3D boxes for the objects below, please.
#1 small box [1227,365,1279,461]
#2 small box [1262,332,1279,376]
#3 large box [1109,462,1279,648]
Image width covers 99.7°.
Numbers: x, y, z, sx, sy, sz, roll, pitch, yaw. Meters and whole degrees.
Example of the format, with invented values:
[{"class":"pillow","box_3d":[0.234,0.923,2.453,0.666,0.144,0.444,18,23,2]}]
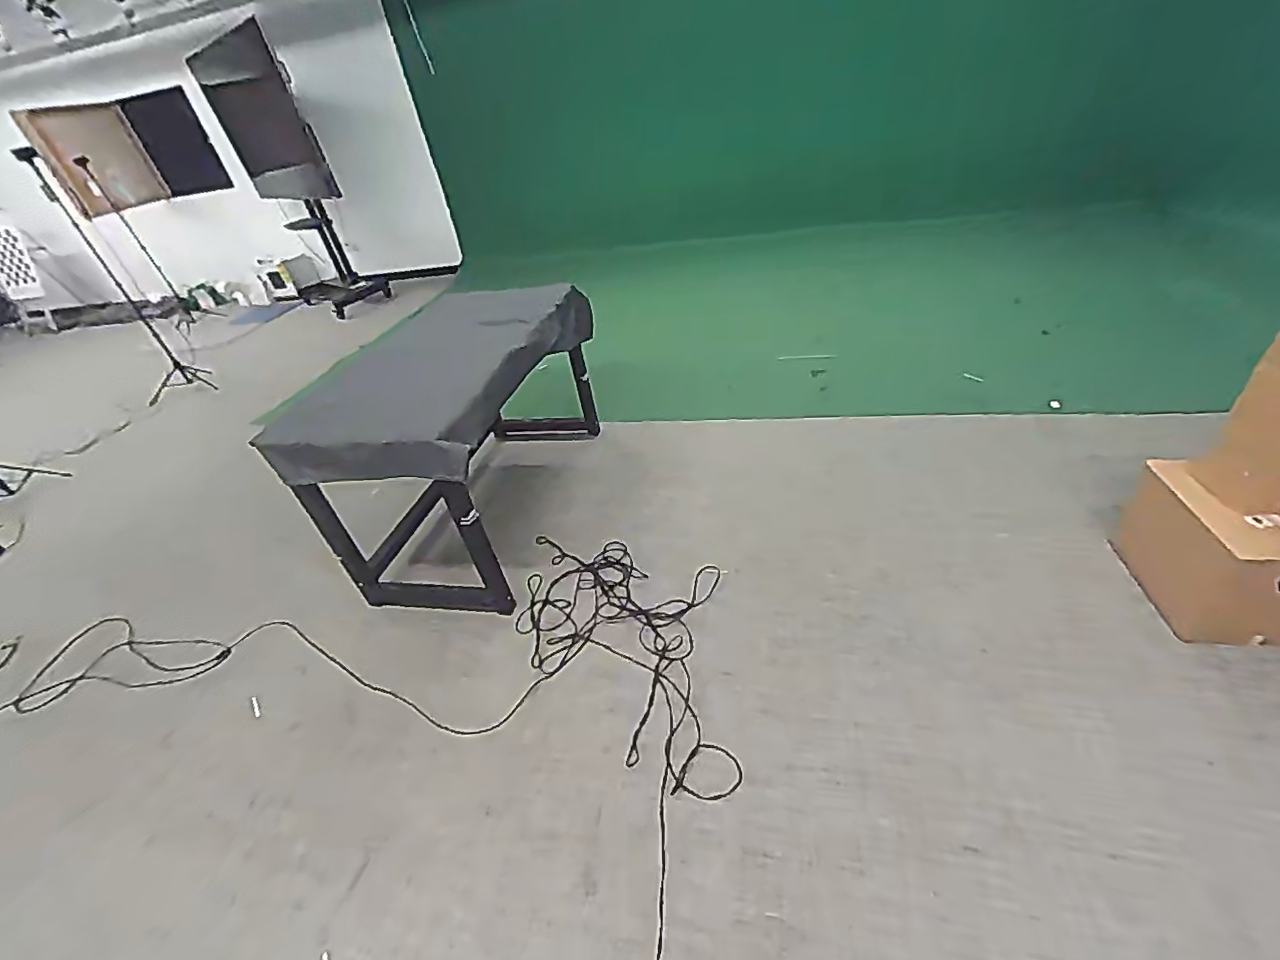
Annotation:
[{"class":"small box","box_3d":[1.539,-0.156,1.246,0.168,0.176,0.179,-2,38,12]},{"class":"small box","box_3d":[1.519,-0.284,1.148,0.168,0.176,0.179,-1,38,11]},{"class":"large box","box_3d":[1.591,0.191,1.455,0.320,0.320,0.408,-2,38,13]}]
